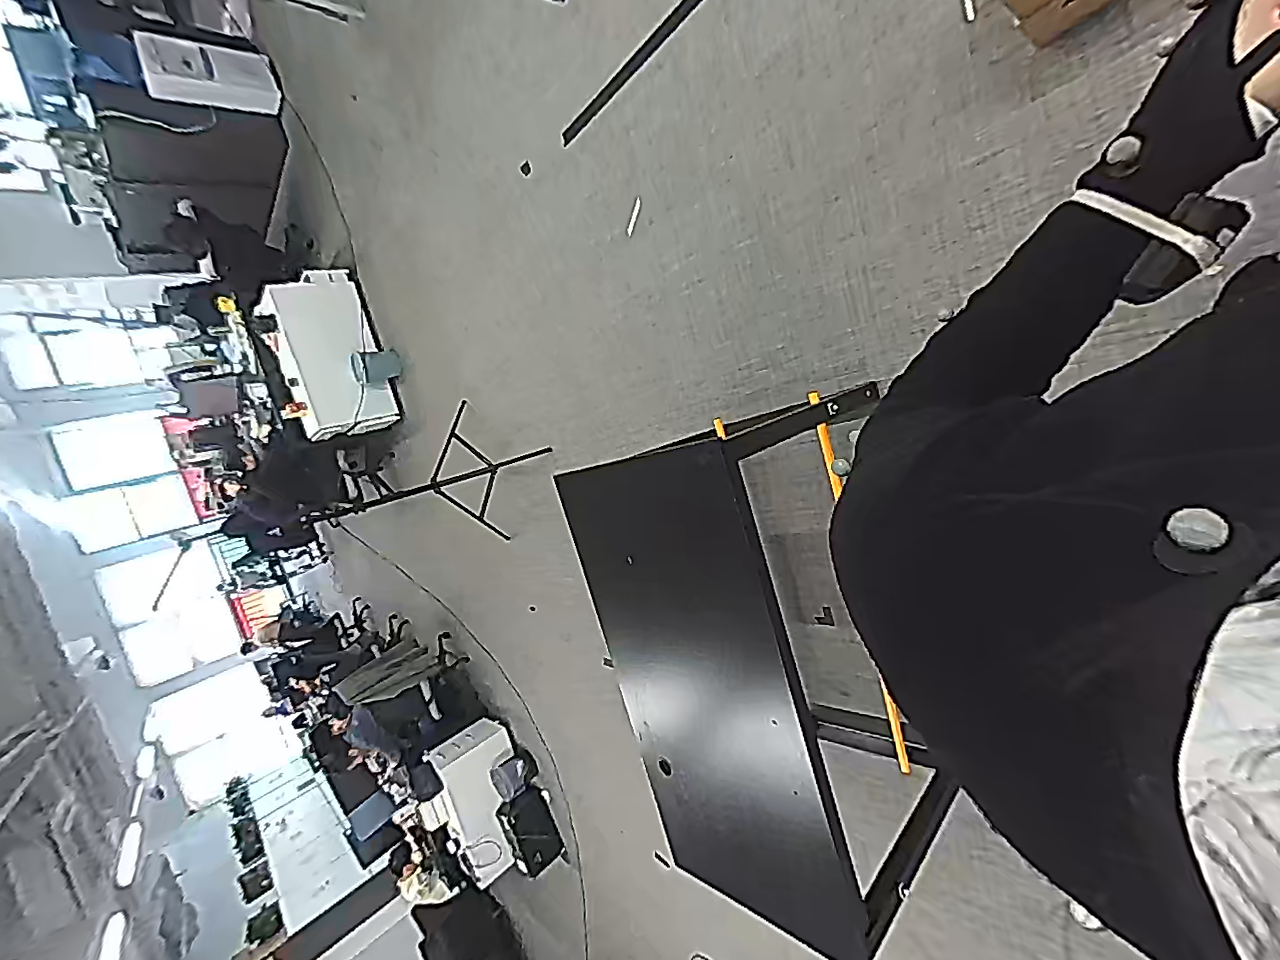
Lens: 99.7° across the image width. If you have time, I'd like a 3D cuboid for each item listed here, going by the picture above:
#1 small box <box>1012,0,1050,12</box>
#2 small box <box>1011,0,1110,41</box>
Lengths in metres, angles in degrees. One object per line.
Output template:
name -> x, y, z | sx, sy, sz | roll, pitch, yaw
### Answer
small box -> 0.650, -0.899, 0.852 | 0.168, 0.176, 0.179 | -19, 93, 52
small box -> 0.770, -0.934, 0.957 | 0.179, 0.176, 0.168 | -14, 96, 49
